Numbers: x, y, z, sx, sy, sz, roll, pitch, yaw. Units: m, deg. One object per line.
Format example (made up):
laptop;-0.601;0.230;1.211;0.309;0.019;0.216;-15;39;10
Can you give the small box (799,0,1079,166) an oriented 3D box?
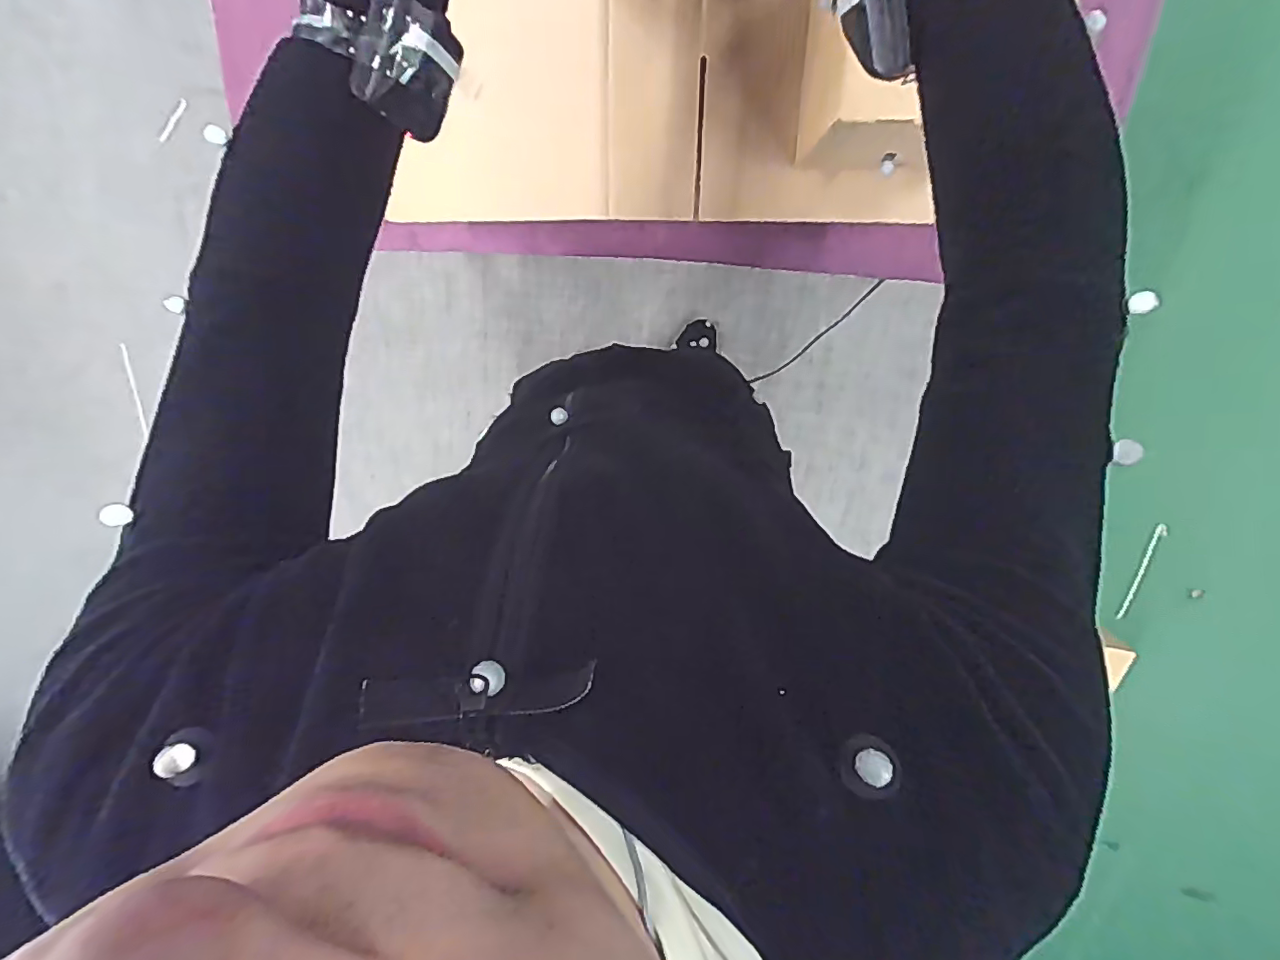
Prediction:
small box;0.244;-0.393;0.470;0.168;0.176;0.179;2;110;3
